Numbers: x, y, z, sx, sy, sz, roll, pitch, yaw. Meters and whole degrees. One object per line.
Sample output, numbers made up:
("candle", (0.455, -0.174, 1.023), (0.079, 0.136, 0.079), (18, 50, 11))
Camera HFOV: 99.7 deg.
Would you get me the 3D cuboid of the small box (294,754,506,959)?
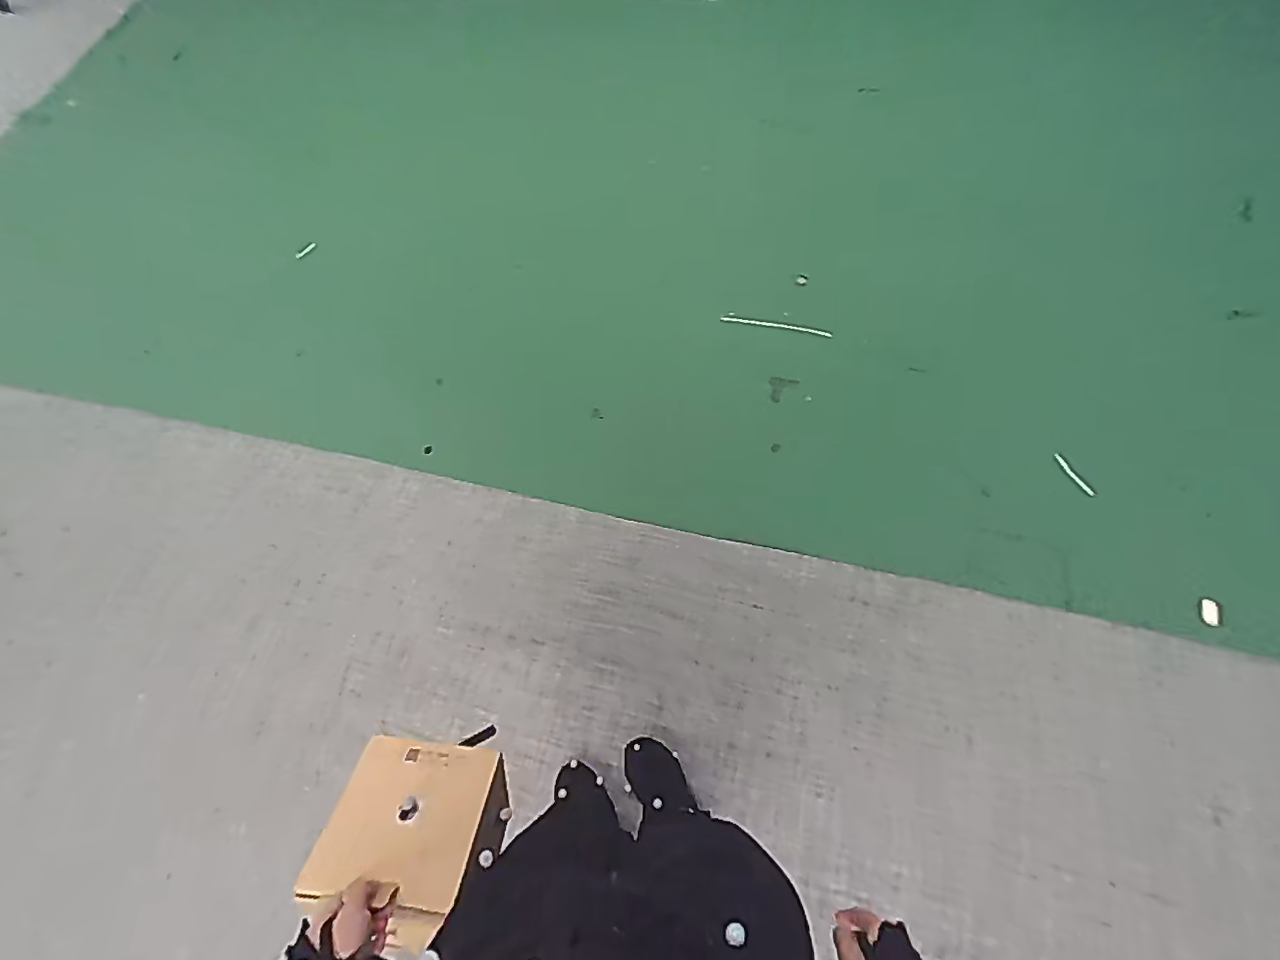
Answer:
("small box", (-0.266, 0.456, 0.649), (0.168, 0.179, 0.176), (6, 34, 1))
